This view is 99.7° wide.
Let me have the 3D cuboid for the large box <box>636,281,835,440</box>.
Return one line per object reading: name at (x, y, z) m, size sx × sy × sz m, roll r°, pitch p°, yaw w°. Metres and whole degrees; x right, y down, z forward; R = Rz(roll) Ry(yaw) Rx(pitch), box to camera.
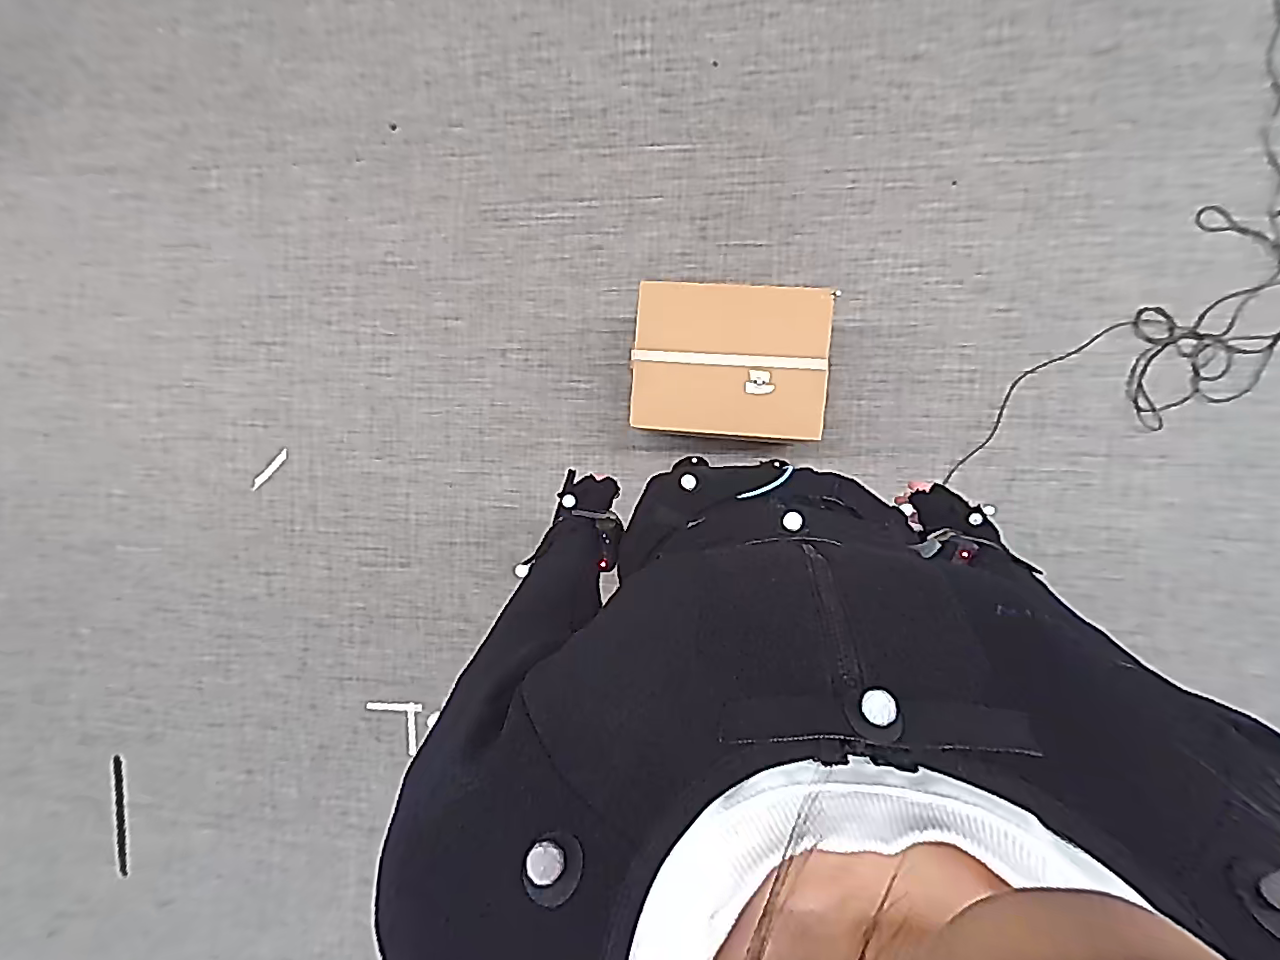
large box at (0.210, -0.263, 1.284) m, size 0.408 × 0.320 × 0.320 m, roll 5°, pitch 94°, yaw 6°
